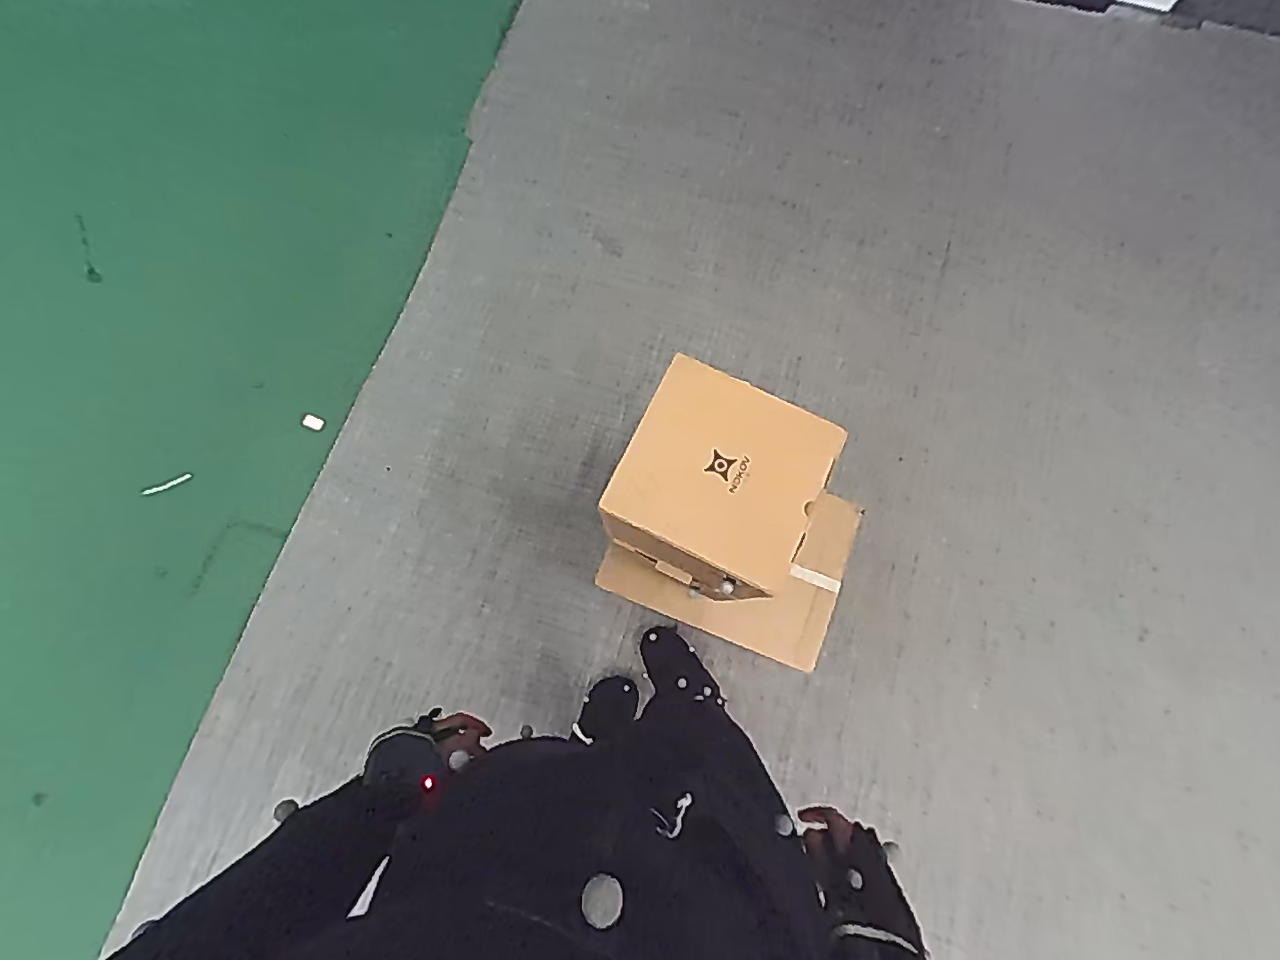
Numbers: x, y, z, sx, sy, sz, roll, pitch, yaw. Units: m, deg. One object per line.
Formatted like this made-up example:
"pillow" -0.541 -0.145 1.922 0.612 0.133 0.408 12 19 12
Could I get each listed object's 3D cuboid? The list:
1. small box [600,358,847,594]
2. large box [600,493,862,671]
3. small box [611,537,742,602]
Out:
"small box" 0.074 0.010 0.555 0.179 0.176 0.168 26 77 4
"large box" 0.163 0.153 1.106 0.408 0.320 0.320 21 79 5
"small box" 0.074 0.049 0.714 0.168 0.176 0.179 24 77 4
